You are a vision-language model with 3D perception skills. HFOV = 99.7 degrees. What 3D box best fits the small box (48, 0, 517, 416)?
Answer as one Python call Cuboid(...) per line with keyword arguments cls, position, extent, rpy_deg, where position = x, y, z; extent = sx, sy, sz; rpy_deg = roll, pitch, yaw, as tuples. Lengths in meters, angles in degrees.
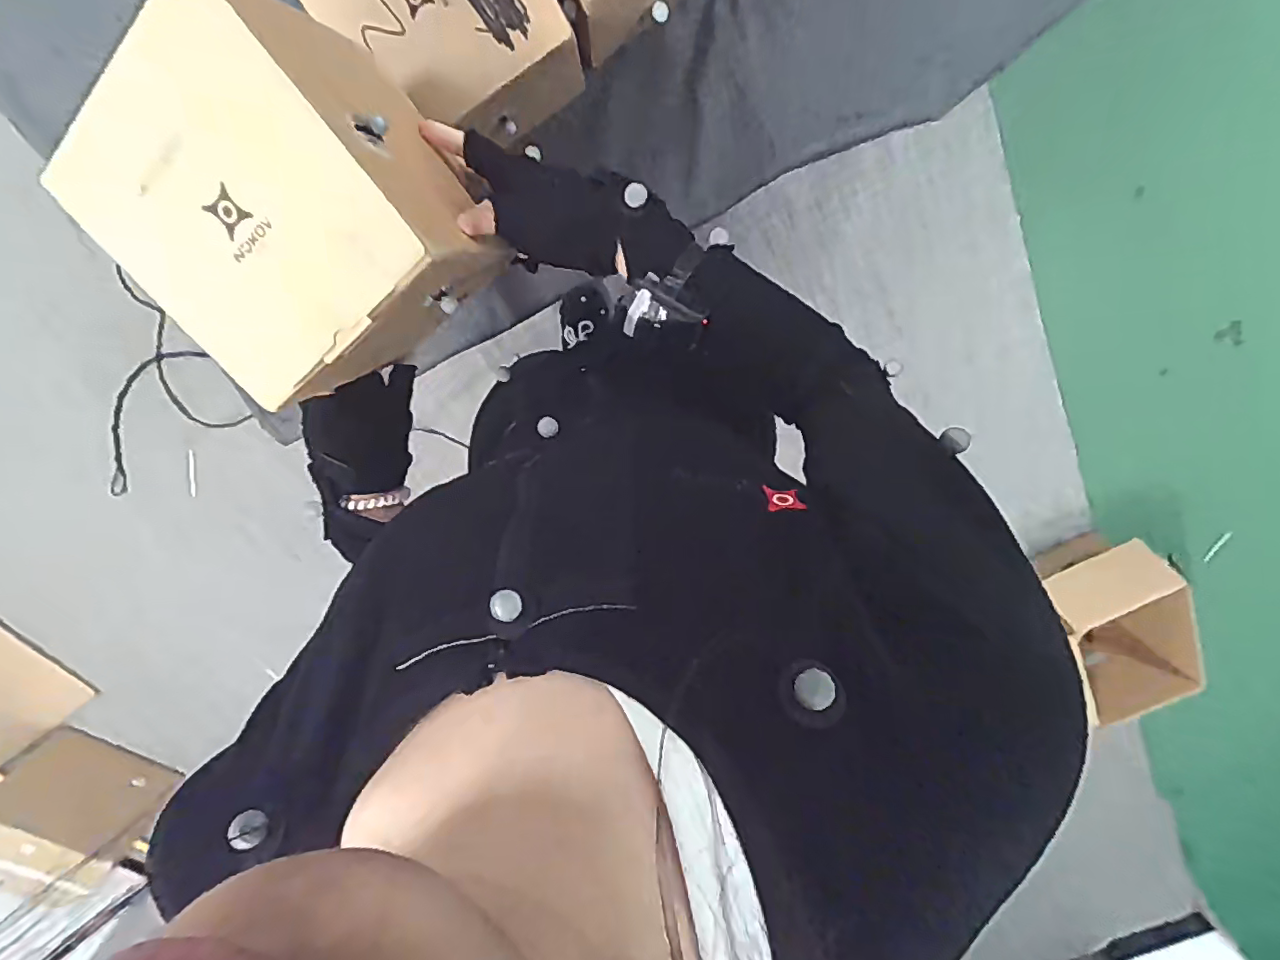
Cuboid(cls="small box", position=(-0.216, -0.180, 0.380), extent=(0.168, 0.176, 0.179), rpy_deg=(-32, 108, 18))
